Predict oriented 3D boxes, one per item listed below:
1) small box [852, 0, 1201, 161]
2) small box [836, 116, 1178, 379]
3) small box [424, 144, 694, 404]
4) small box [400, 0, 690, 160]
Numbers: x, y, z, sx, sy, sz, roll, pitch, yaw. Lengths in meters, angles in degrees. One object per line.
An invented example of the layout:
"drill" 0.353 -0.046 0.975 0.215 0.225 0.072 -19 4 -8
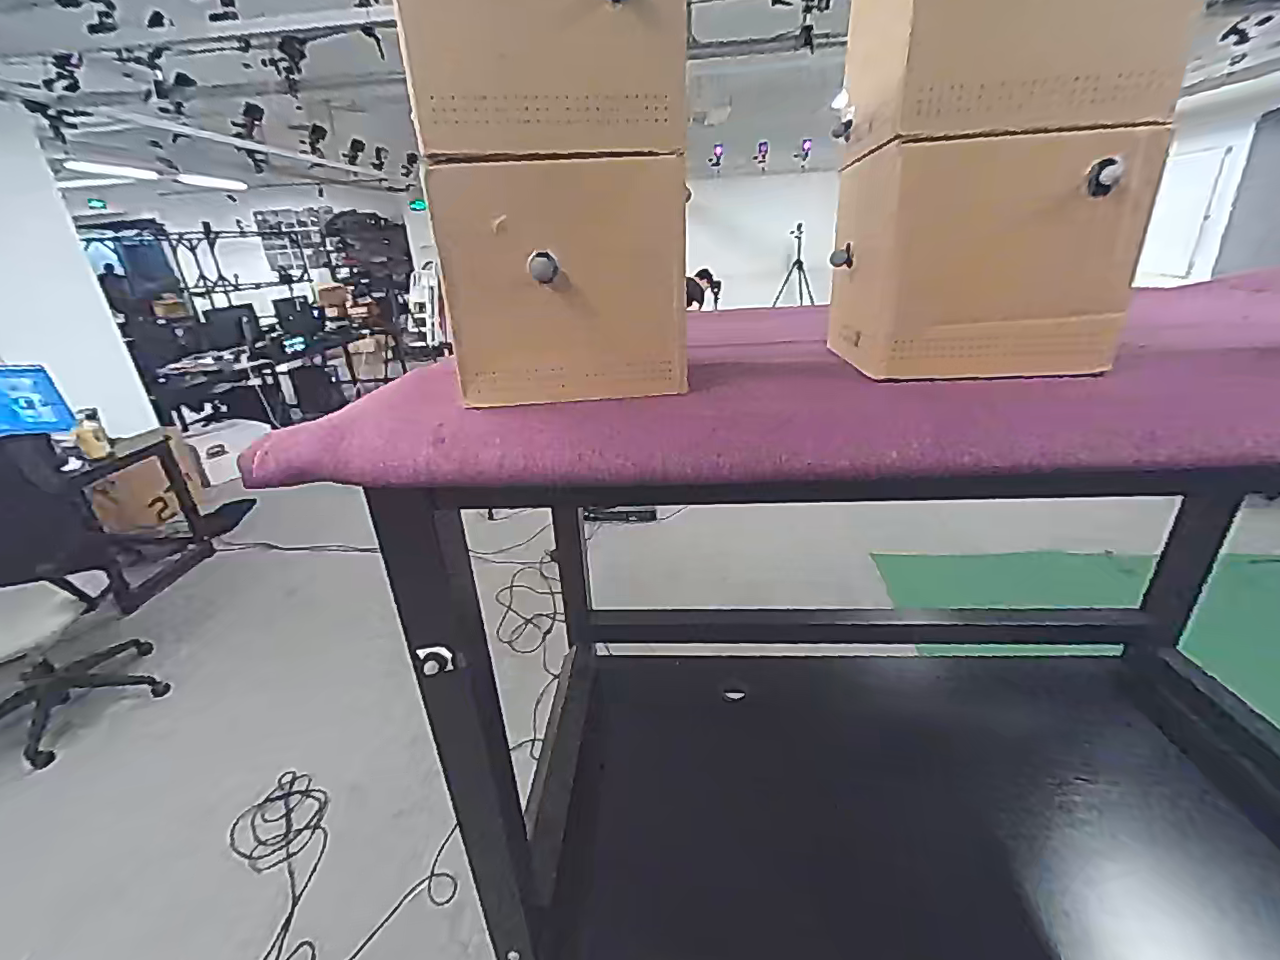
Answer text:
"small box" 0.266 -0.336 0.397 0.179 0.176 0.168 1 23 5
"small box" 0.272 -0.183 0.456 0.179 0.176 0.168 0 23 6
"small box" -0.055 -0.167 0.454 0.179 0.176 0.168 -5 25 -4
"small box" -0.063 -0.315 0.387 0.179 0.176 0.168 -6 24 -7
